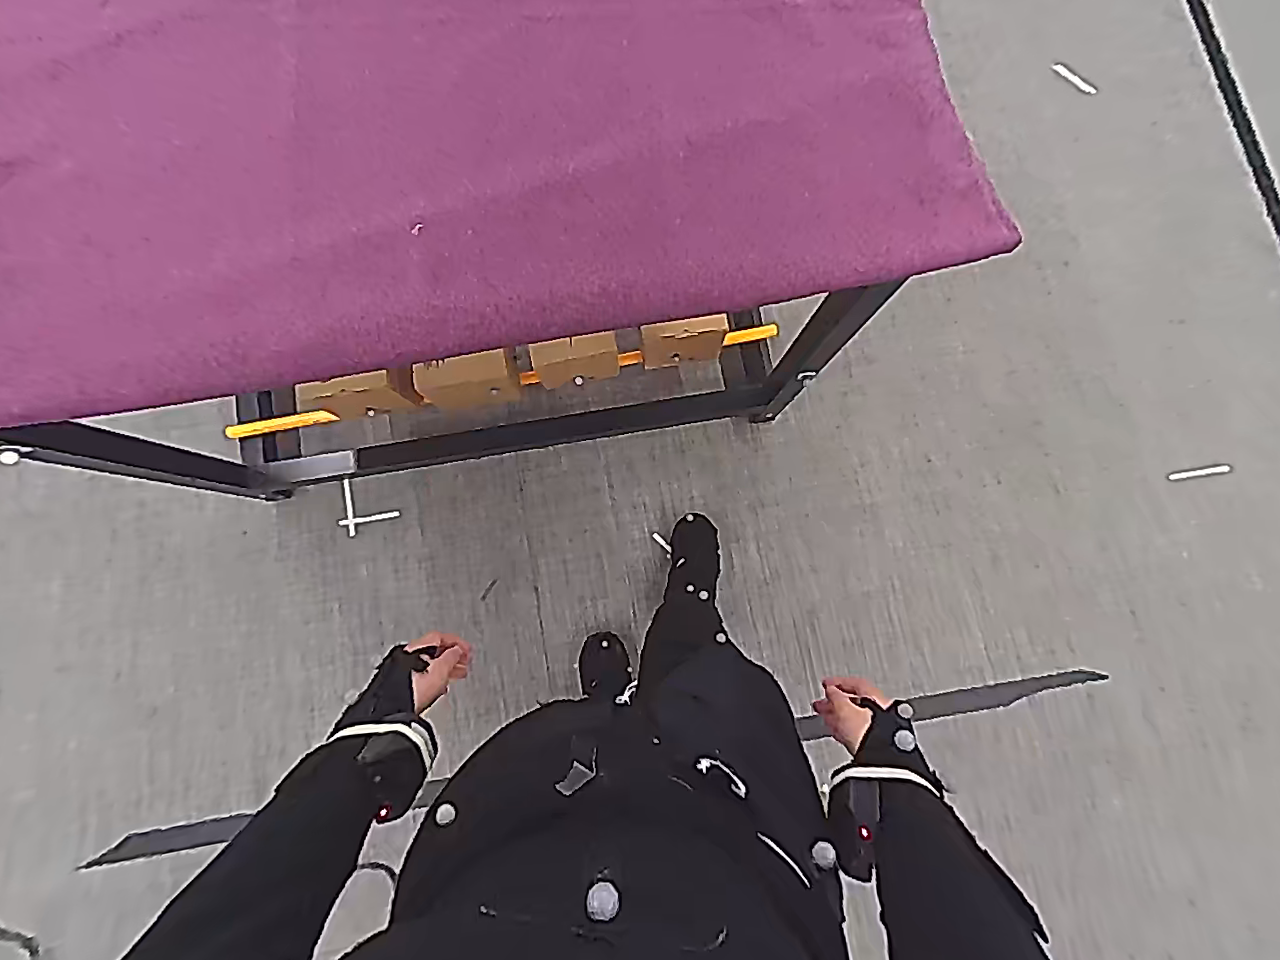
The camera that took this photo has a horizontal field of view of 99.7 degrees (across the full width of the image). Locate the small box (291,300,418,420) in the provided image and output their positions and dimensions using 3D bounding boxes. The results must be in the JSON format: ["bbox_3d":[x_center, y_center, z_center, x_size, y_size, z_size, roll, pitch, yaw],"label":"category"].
[{"bbox_3d":[-0.561,-0.233,1.080,0.168,0.176,0.179,-9,84,-3],"label":"small box"}]

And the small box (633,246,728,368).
[{"bbox_3d":[0.075,-0.349,1.112,0.168,0.176,0.179,-8,83,-1],"label":"small box"}]

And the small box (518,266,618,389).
[{"bbox_3d":[-0.141,-0.304,1.104,0.168,0.176,0.179,-11,85,-2],"label":"small box"}]
